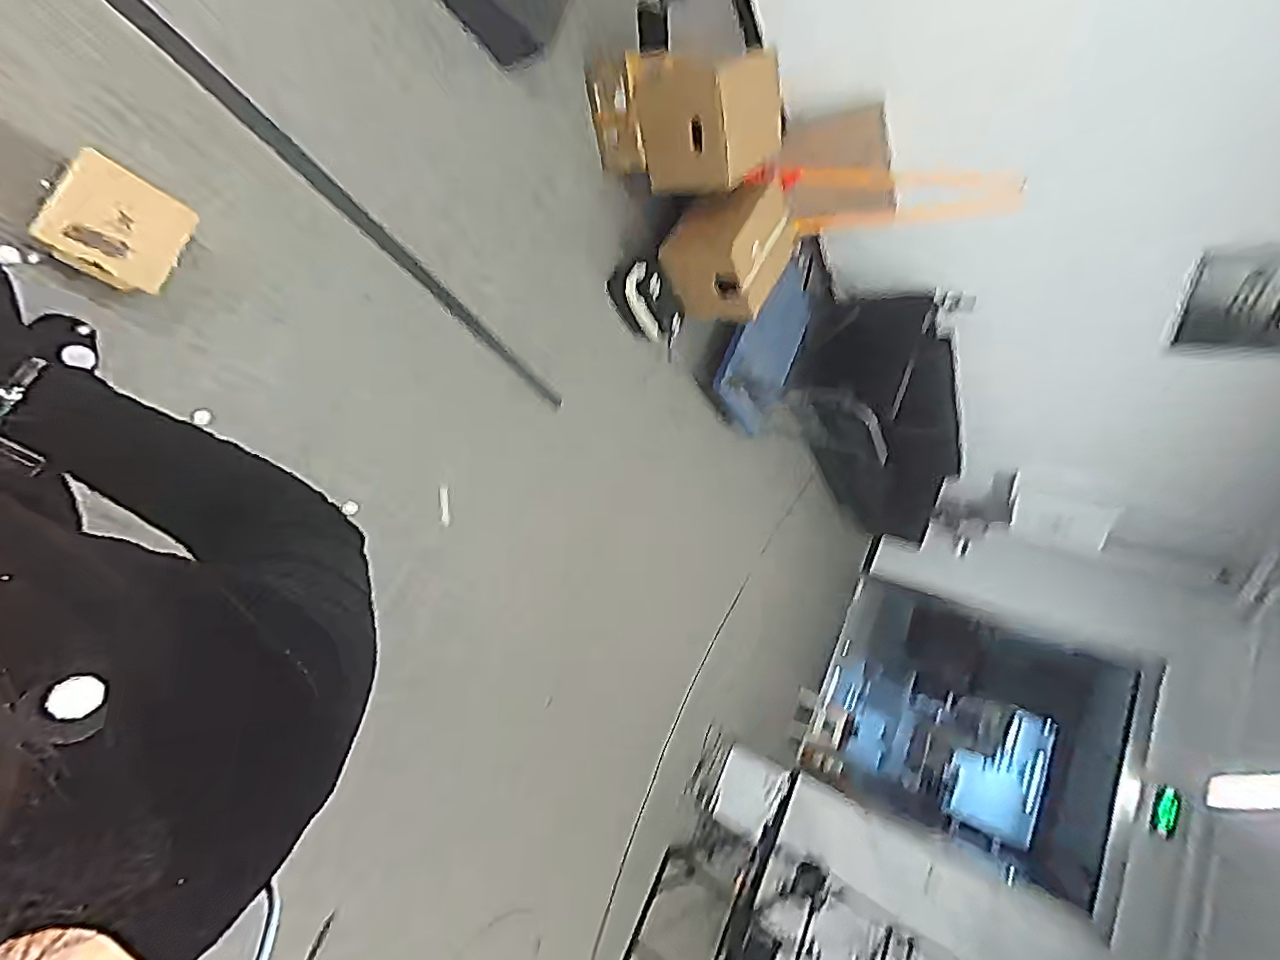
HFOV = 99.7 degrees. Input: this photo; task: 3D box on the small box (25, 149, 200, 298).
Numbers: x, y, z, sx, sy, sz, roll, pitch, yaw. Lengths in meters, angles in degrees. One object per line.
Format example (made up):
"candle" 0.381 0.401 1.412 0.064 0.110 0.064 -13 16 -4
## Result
"small box" -0.947 -0.448 0.971 0.168 0.176 0.179 34 74 -52
